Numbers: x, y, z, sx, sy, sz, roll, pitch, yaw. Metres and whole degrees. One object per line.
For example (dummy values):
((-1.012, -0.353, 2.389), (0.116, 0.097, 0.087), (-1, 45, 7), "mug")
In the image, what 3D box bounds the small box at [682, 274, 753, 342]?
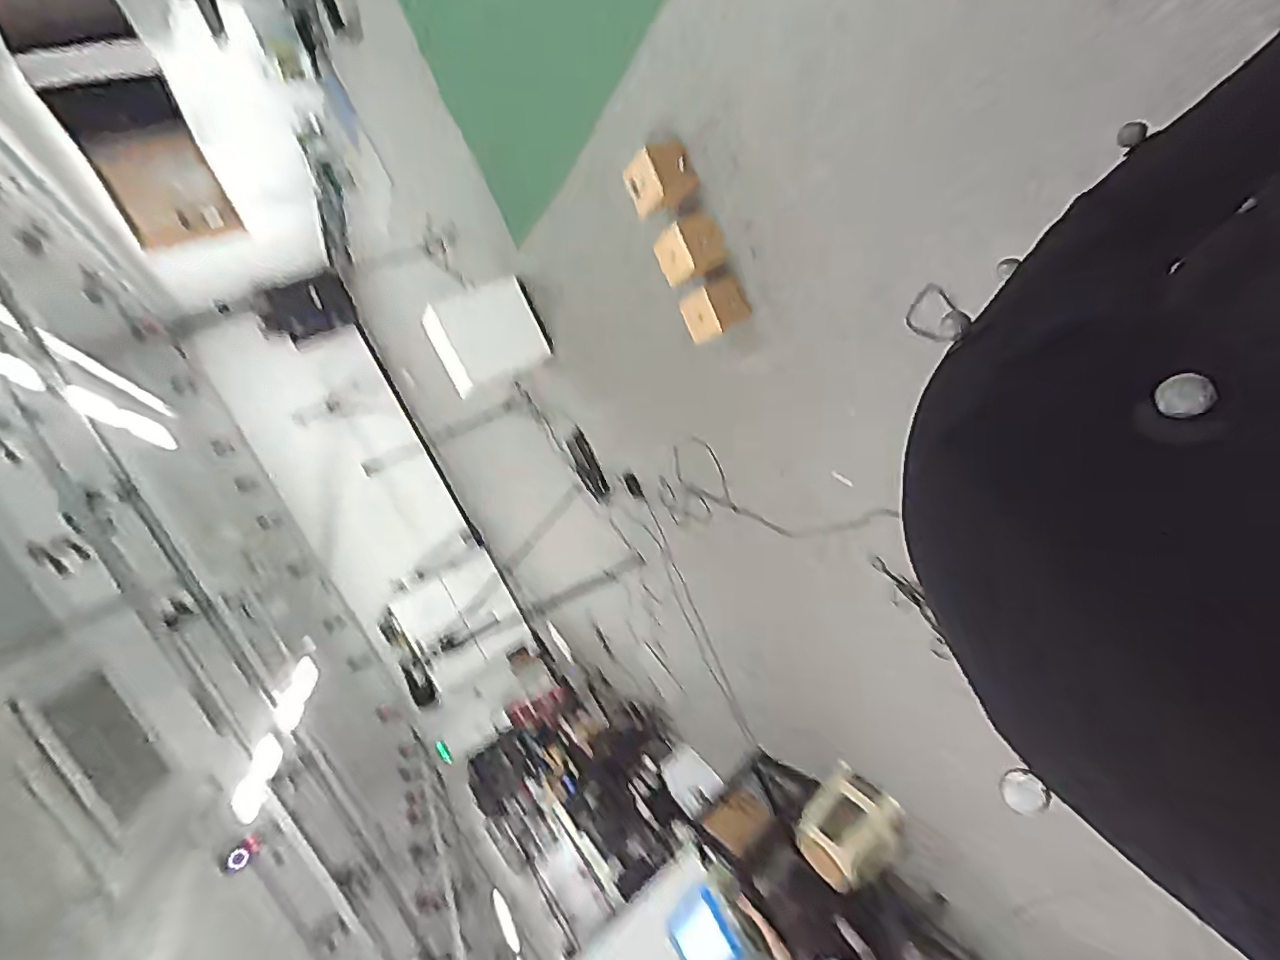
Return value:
((0.295, -0.638, 2.005), (0.179, 0.176, 0.168), (-7, 110, 63), "small box")

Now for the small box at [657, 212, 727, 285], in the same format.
((0.197, -0.846, 1.971), (0.179, 0.176, 0.168), (-11, 107, 64), "small box")

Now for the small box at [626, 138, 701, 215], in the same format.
((0.085, -1.080, 1.926), (0.179, 0.176, 0.168), (-10, 108, 62), "small box")
